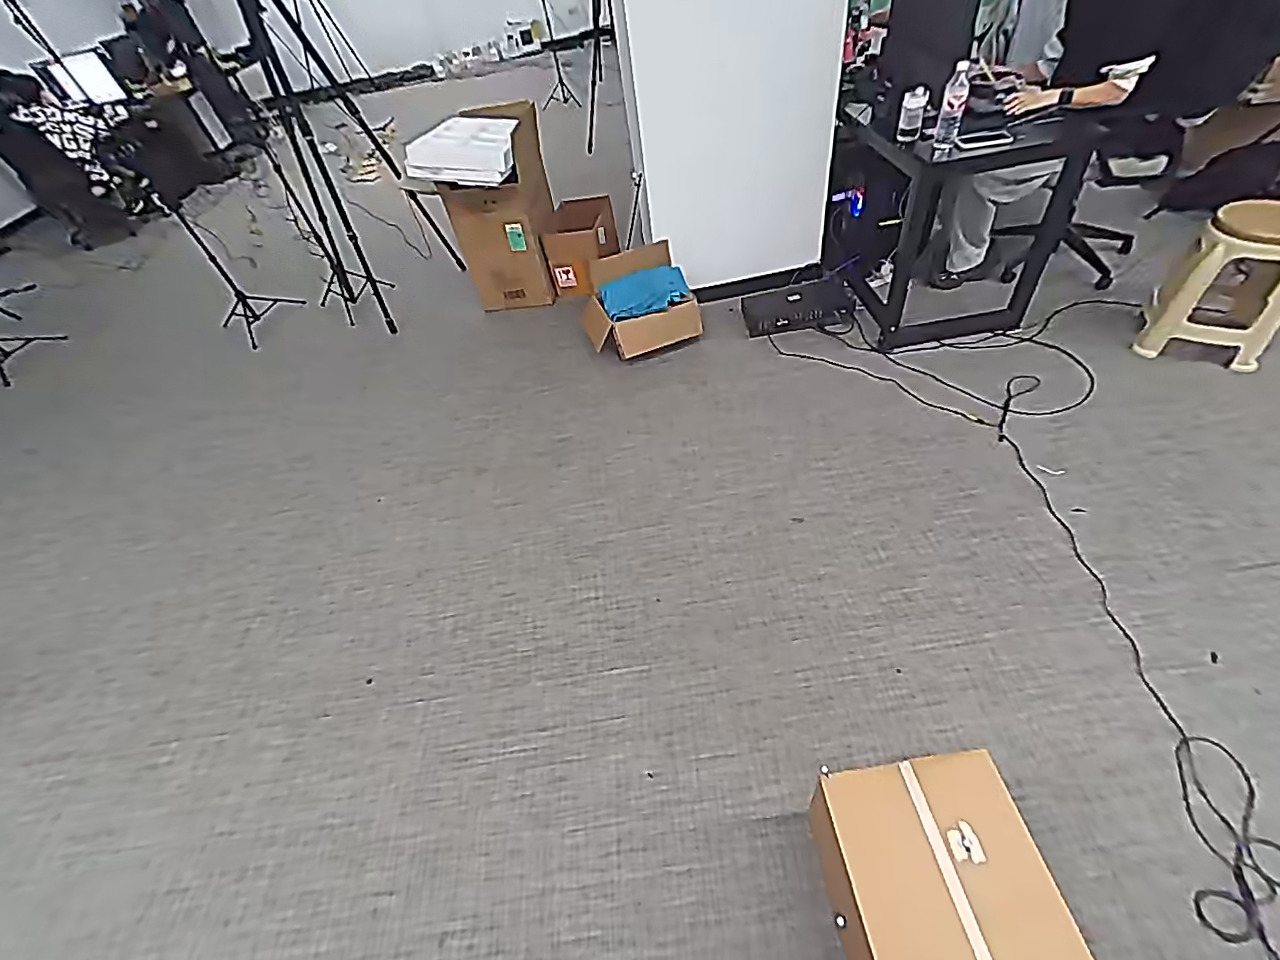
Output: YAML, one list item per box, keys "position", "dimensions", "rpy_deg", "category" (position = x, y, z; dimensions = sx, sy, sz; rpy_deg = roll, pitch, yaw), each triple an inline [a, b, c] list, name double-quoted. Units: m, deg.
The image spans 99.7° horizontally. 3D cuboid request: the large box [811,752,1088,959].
- position: [0.532, 0.779, 0.986]
  dimensions: [0.320, 0.320, 0.408]
  rpy_deg: [-9, 46, 2]
  category: "large box"
